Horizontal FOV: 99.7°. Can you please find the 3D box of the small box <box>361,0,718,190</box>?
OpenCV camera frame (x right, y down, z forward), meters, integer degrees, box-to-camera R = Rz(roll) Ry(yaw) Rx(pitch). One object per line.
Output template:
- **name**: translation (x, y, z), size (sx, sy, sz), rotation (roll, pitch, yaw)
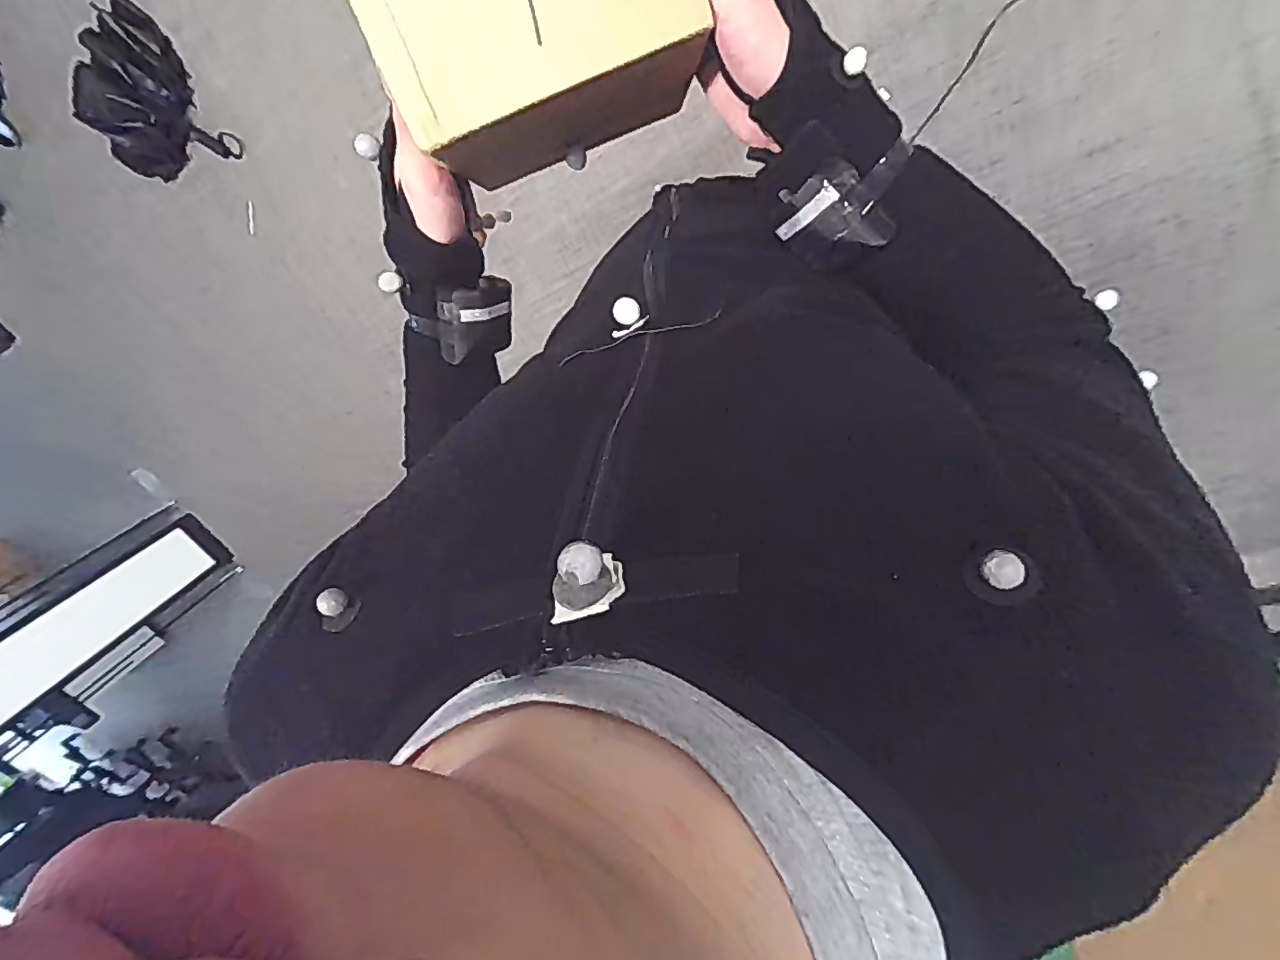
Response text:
- **small box**: translation (-0.067, -0.302, 0.324), size (0.168, 0.176, 0.179), rotation (-19, 111, 6)
